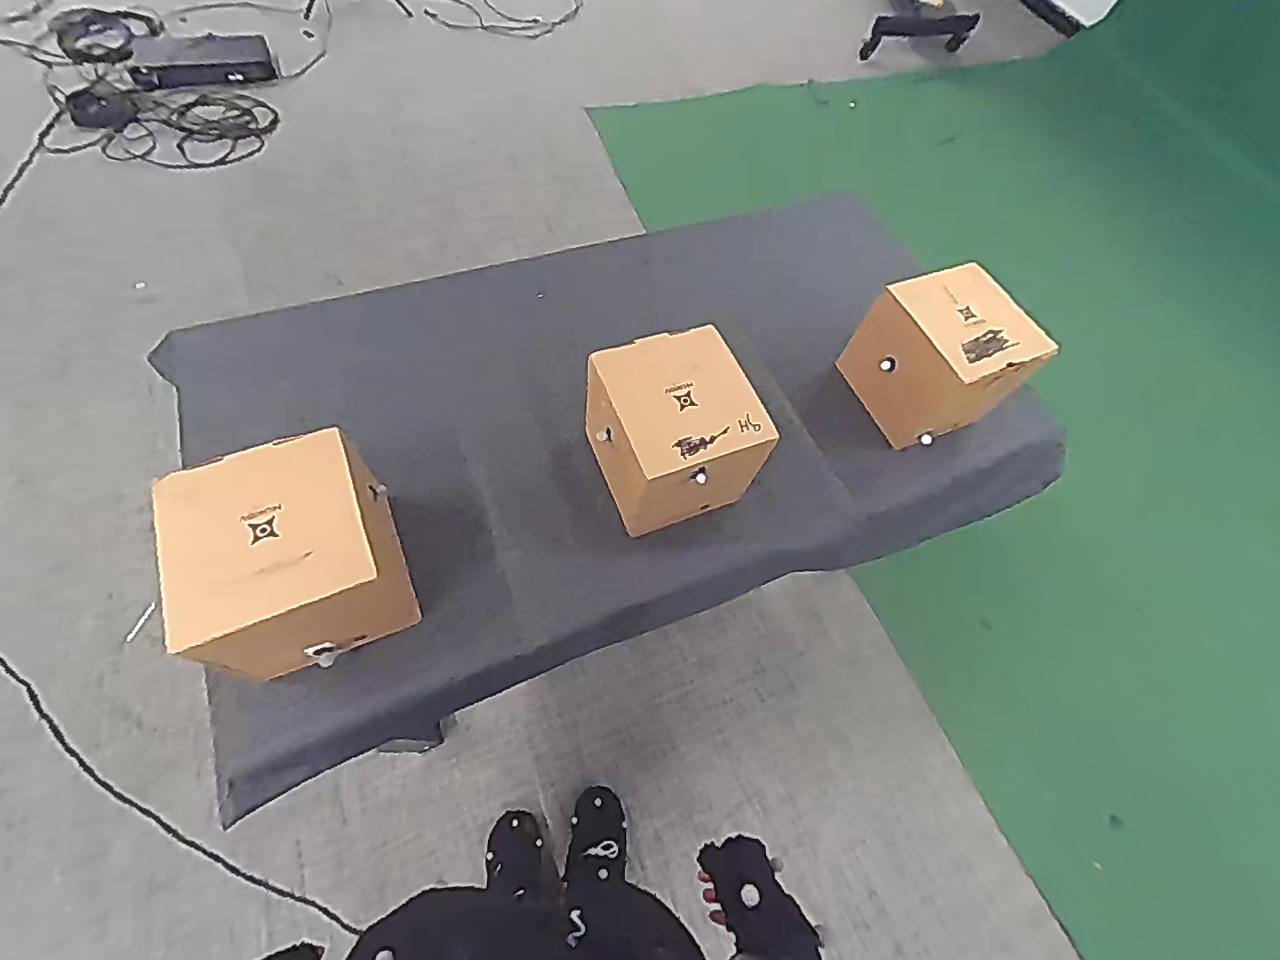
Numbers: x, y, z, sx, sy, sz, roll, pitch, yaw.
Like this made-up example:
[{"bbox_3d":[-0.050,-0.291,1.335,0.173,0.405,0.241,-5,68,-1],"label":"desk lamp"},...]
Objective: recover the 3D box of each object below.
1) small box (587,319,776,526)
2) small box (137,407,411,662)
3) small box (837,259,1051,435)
[{"bbox_3d":[0.036,-0.068,0.682,0.168,0.176,0.179,-18,67,-16],"label":"small box"},{"bbox_3d":[-0.349,0.060,0.541,0.168,0.176,0.179,-19,67,-14],"label":"small box"},{"bbox_3d":[0.426,-0.184,0.791,0.168,0.176,0.179,-18,66,-15],"label":"small box"}]
